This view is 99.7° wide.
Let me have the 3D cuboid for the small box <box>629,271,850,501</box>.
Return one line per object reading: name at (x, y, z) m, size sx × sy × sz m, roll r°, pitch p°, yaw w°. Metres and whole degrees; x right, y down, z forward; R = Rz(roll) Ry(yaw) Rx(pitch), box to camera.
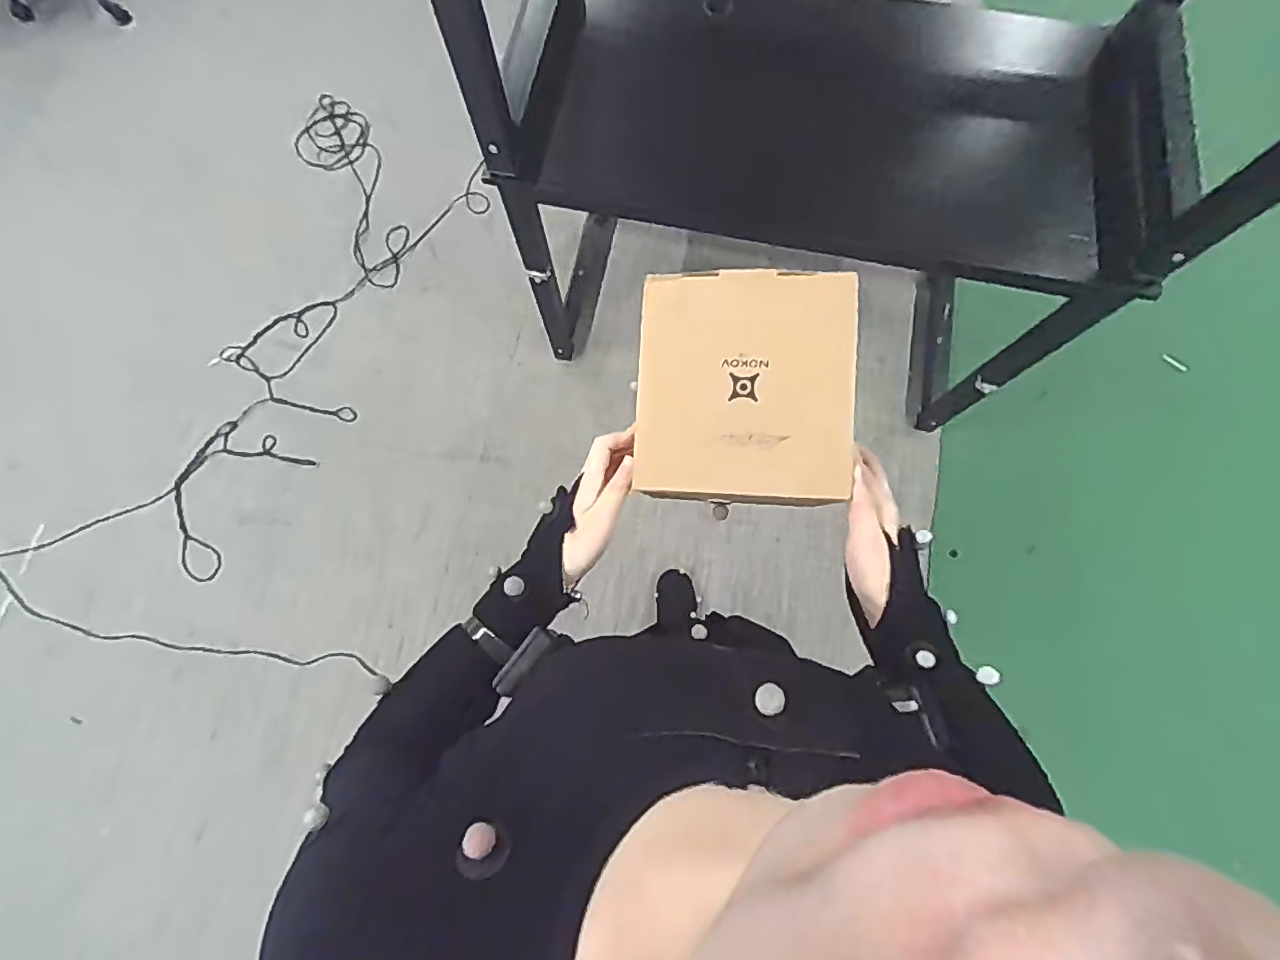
small box at (0.088, -0.074, 0.504) m, size 0.168 × 0.176 × 0.179 m, roll 3°, pitch 87°, yaw 9°
